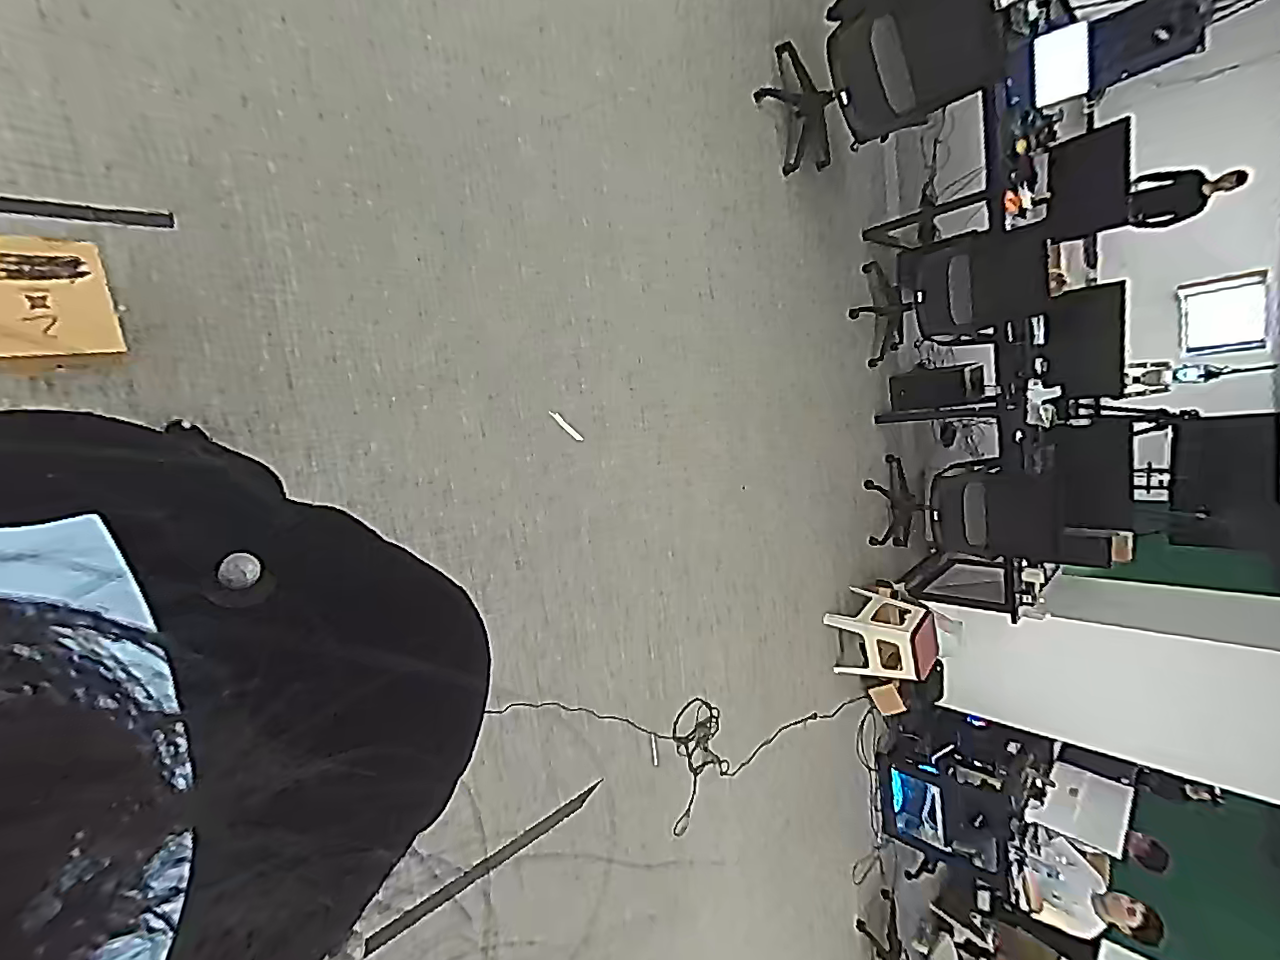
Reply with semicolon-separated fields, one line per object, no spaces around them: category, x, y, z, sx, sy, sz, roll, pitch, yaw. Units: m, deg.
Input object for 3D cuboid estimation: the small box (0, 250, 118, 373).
small box;-1.084;-0.301;0.976;0.168;0.176;0.179;-21;105;-41
